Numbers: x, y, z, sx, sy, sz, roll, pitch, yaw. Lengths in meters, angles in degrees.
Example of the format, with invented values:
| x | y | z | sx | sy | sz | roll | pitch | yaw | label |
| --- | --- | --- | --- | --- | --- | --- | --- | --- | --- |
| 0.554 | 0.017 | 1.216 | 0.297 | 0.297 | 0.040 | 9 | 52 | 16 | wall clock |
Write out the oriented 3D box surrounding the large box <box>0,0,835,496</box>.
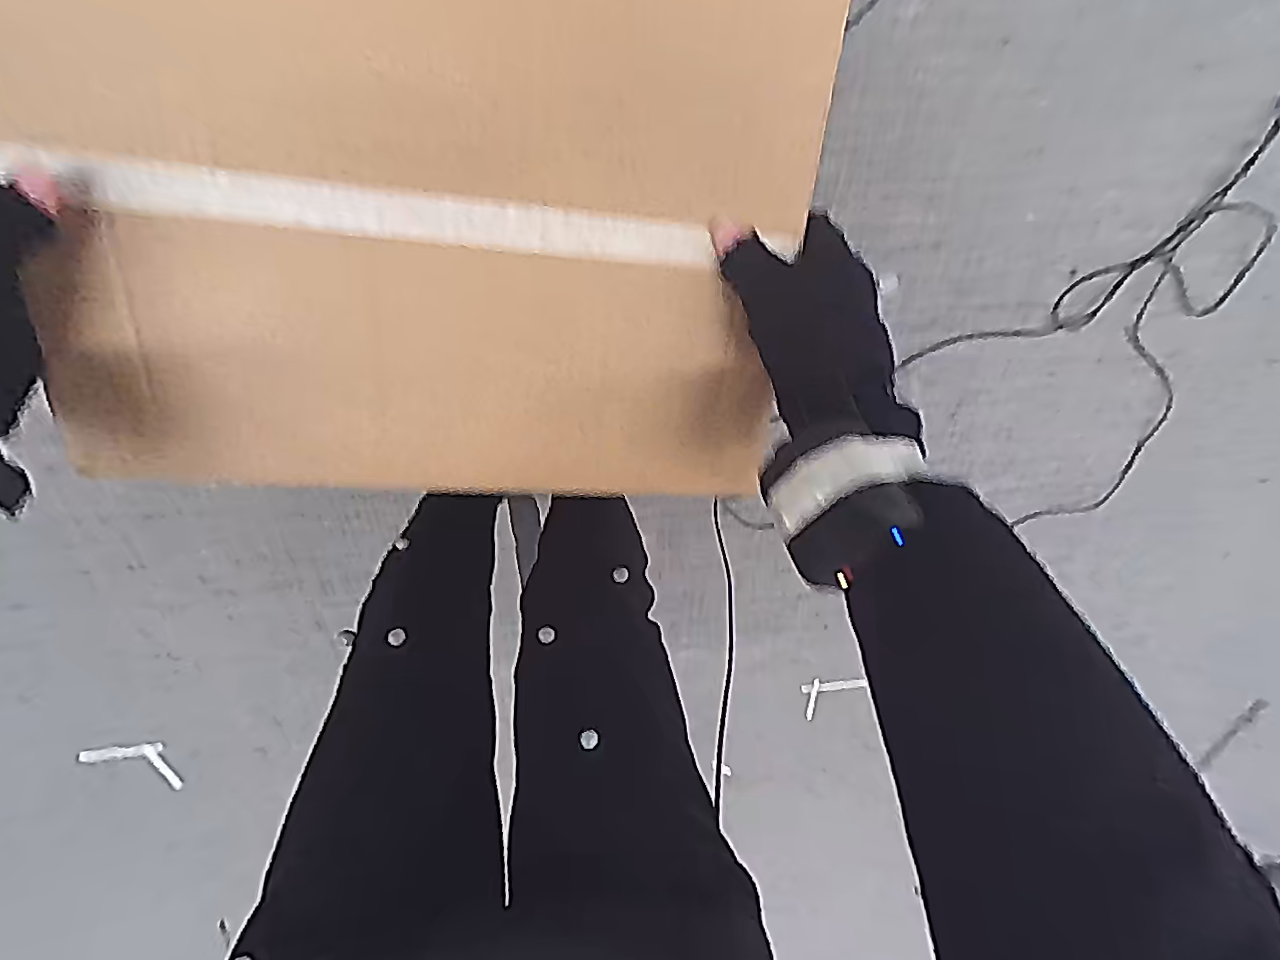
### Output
| x | y | z | sx | sy | sz | roll | pitch | yaw | label |
| --- | --- | --- | --- | --- | --- | --- | --- | --- | --- |
| -0.127 | -0.190 | 0.426 | 0.408 | 0.320 | 0.320 | 2 | 111 | -11 | large box |
